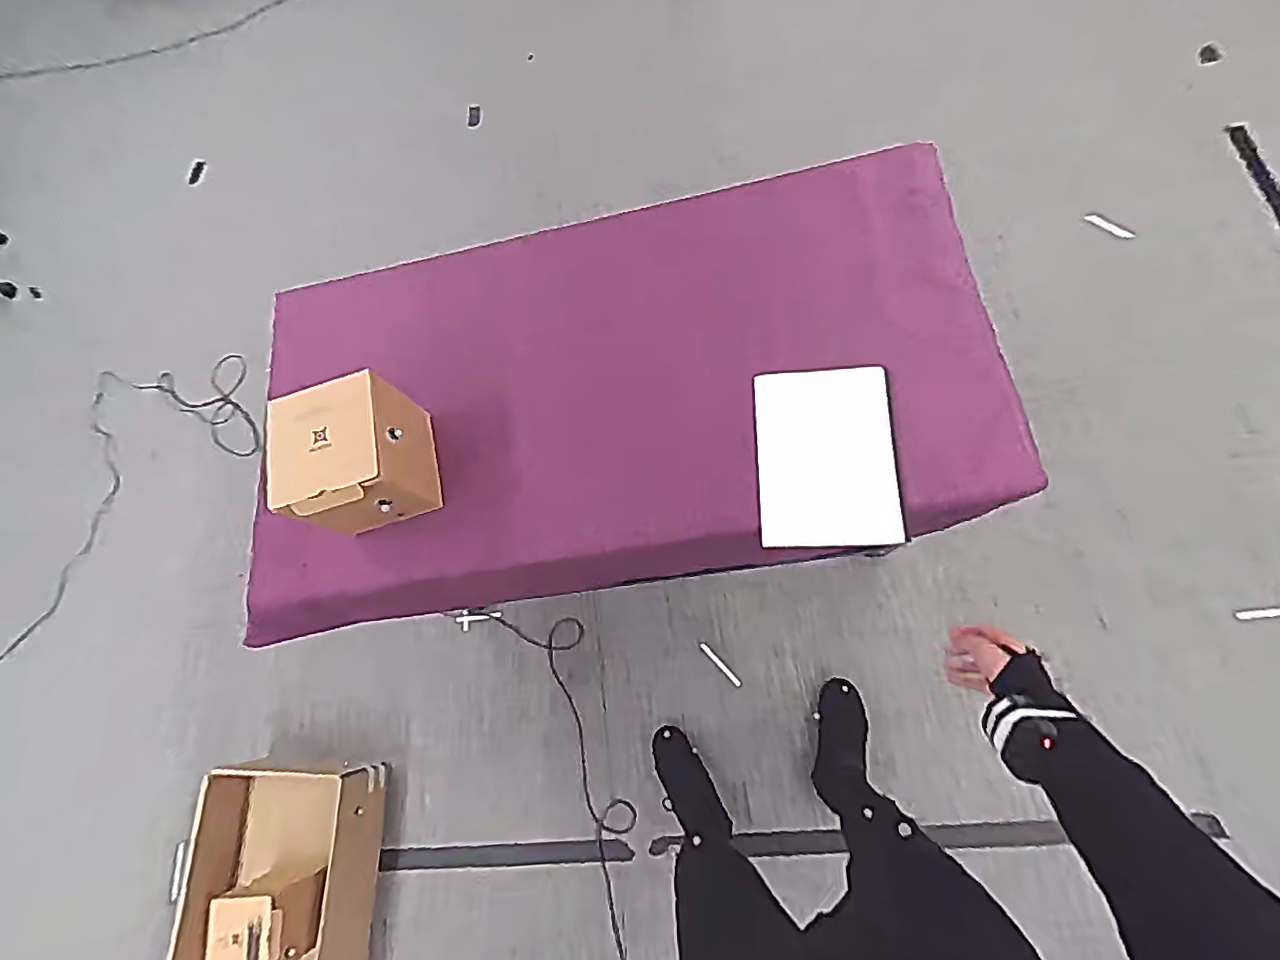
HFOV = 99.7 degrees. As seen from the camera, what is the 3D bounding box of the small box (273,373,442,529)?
[{"bbox_3d":[-0.426,-0.032,0.833,0.168,0.176,0.179,-16,71,5],"label":"small box"}]
